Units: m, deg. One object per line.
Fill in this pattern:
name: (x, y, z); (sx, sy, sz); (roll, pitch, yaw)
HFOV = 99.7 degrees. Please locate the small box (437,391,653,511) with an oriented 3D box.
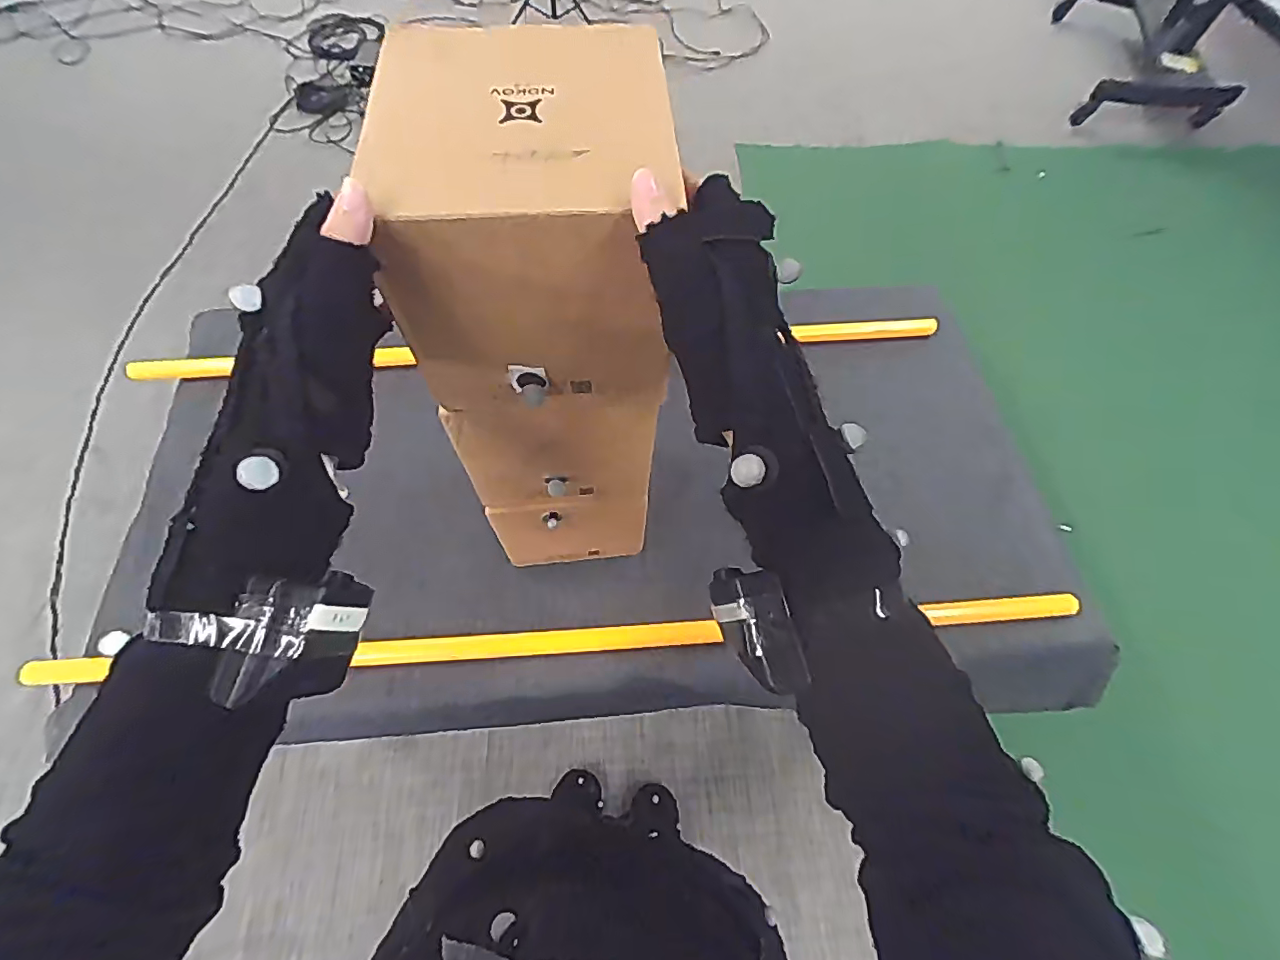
small box: (-0.081, -0.086, 0.518); (0.168, 0.176, 0.179); (-4, 63, -4)

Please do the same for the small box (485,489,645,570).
small box: (-0.088, -0.005, 0.661); (0.168, 0.176, 0.179); (-6, 62, -5)

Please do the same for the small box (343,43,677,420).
small box: (-0.071, -0.161, 0.374); (0.168, 0.176, 0.179); (-3, 63, -3)
